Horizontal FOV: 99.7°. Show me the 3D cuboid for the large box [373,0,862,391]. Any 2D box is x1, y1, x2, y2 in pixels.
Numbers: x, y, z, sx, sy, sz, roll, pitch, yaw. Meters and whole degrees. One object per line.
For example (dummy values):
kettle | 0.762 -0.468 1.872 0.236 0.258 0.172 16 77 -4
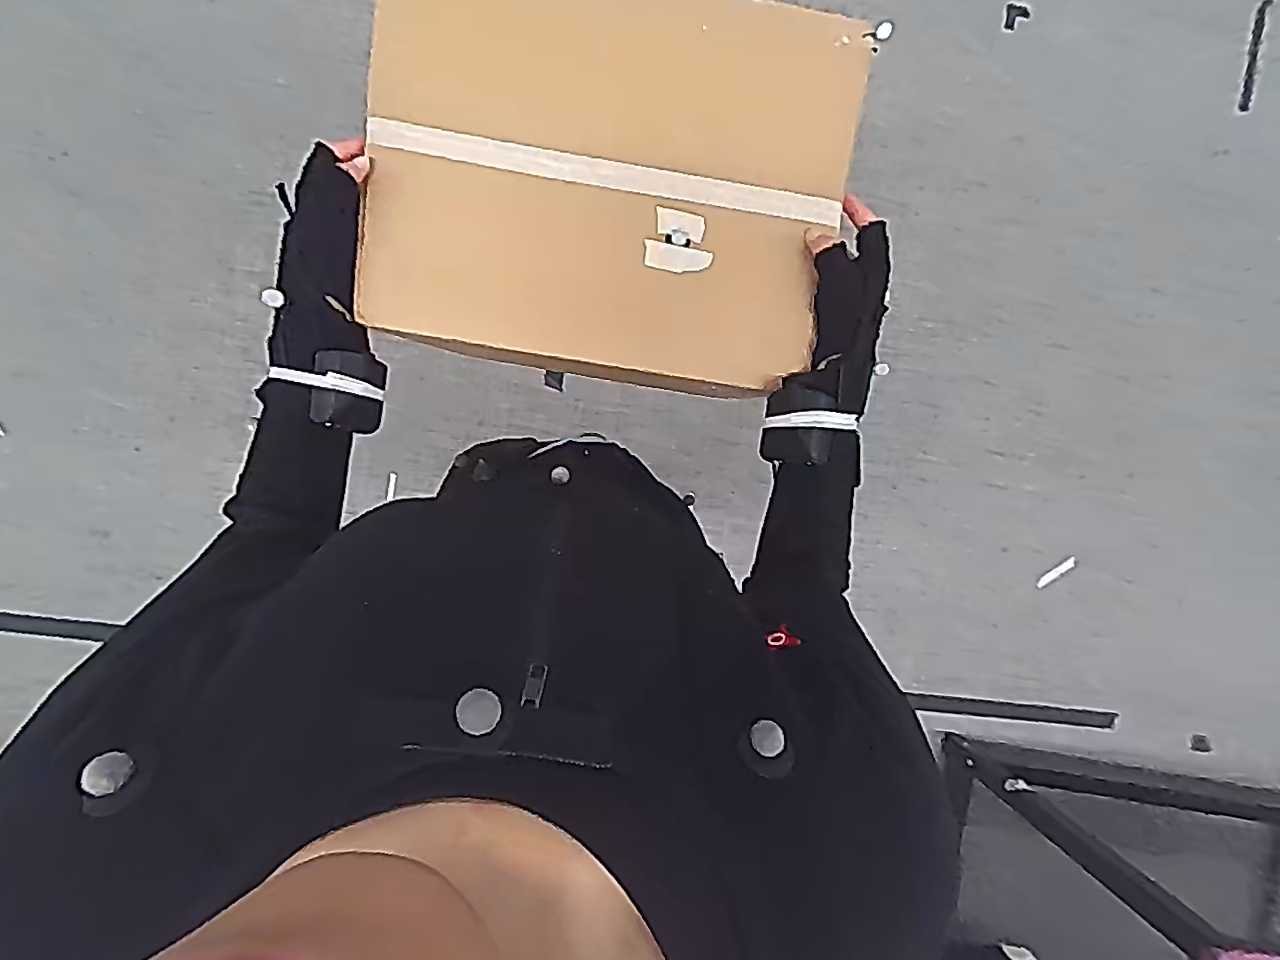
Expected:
large box | -0.032 -0.287 0.624 0.408 0.320 0.320 9 99 -4
